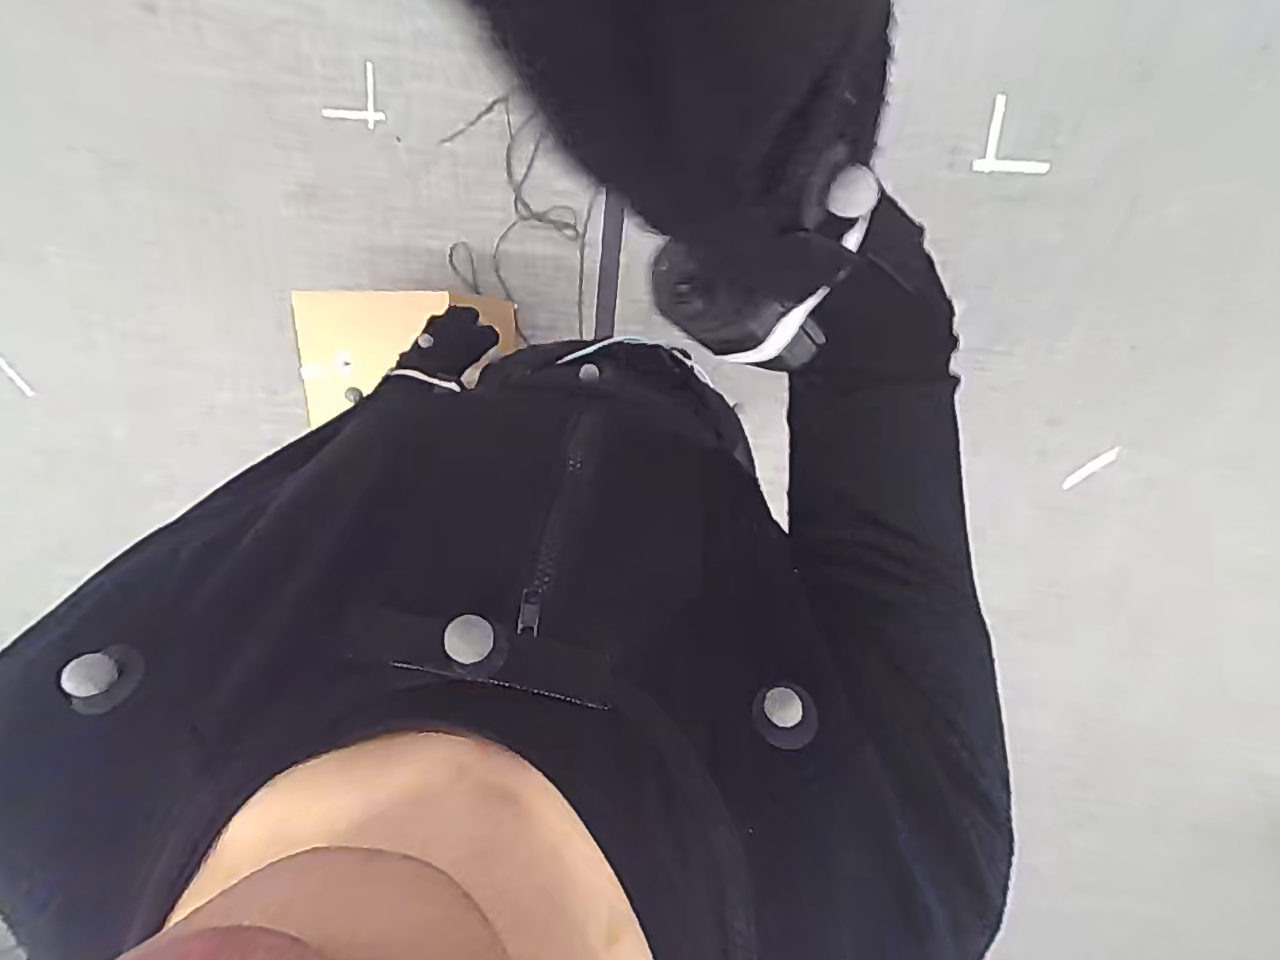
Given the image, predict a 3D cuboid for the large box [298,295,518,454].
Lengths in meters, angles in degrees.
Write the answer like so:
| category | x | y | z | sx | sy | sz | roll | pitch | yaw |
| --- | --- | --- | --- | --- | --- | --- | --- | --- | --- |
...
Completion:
| category | x | y | z | sx | sy | sz | roll | pitch | yaw |
| --- | --- | --- | --- | --- | --- | --- | --- | --- | --- |
| large box | -0.497 | -0.257 | 1.252 | 0.320 | 0.408 | 0.320 | 2 | 106 | 3 |
